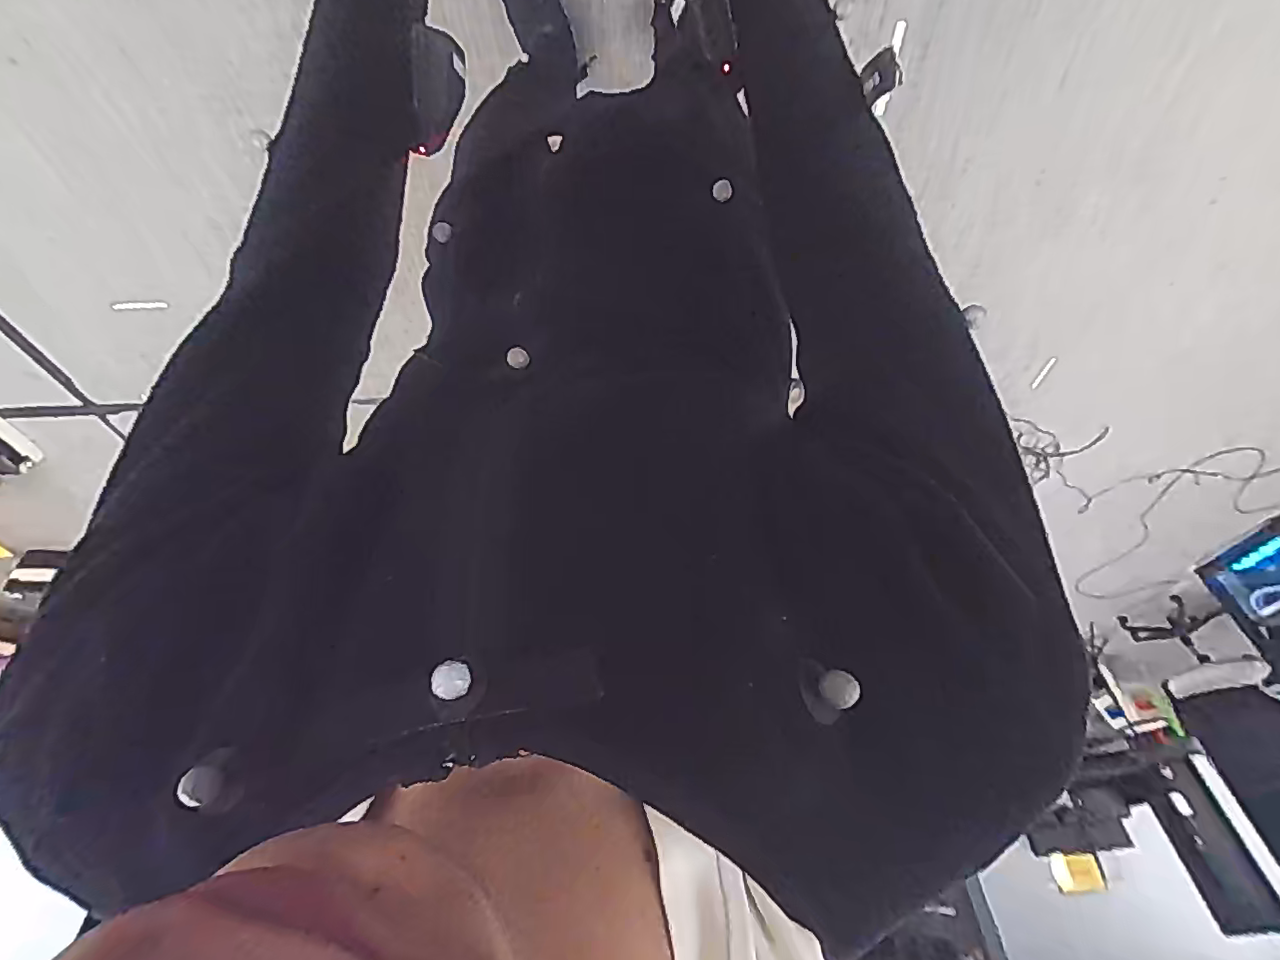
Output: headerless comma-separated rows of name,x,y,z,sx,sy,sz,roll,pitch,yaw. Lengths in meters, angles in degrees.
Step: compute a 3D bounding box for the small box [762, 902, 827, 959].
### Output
small box,0.545,1.627,1.933,0.179,0.176,0.168,-3,141,-3
